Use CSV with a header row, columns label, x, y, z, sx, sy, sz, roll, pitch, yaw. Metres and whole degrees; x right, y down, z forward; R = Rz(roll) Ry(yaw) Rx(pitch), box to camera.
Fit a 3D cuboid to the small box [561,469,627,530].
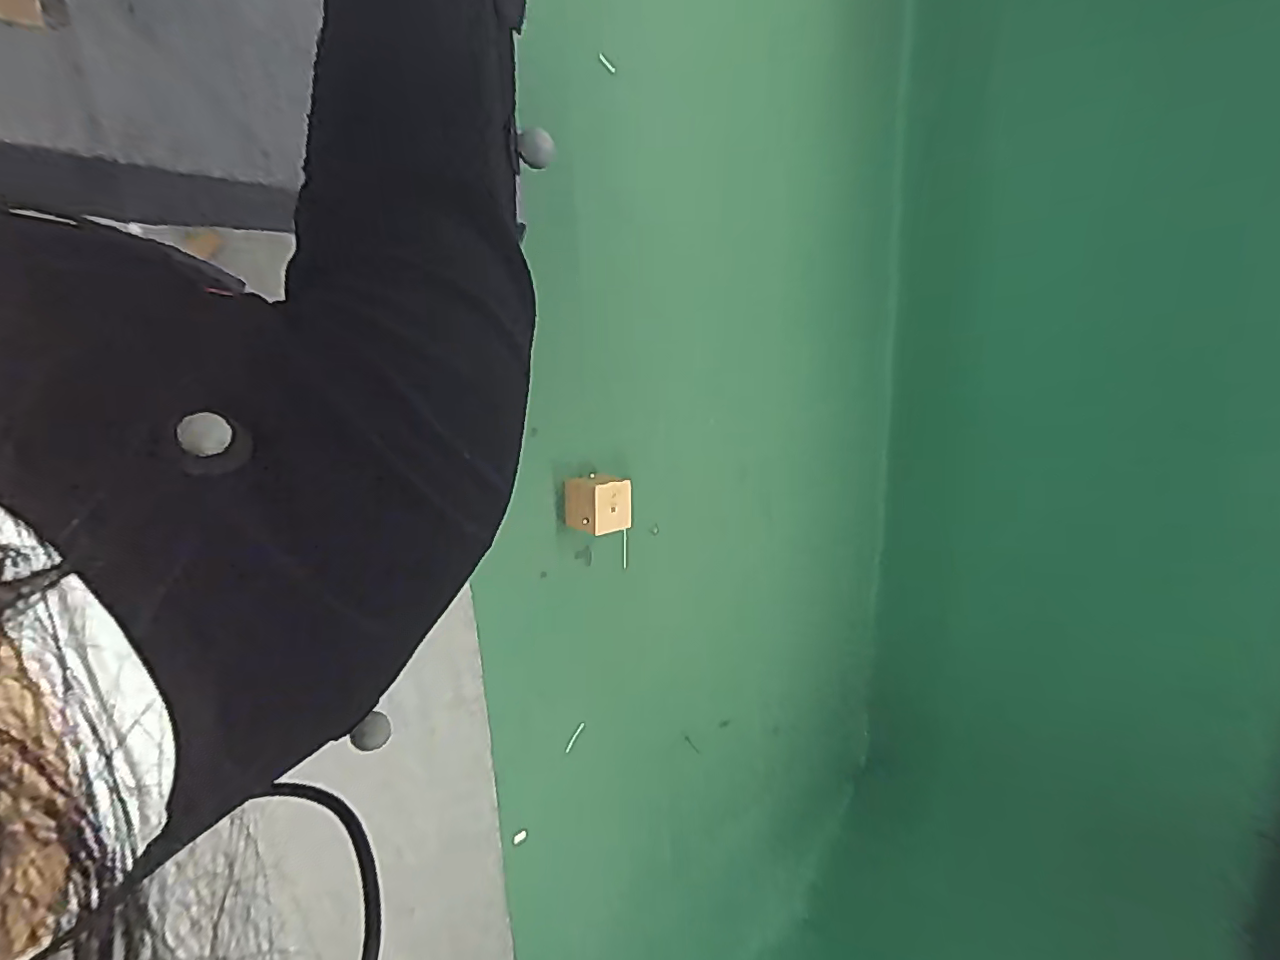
label,x,y,z,sx,sy,sz,roll,pitch,yaw
small box,-0.164,0.065,1.905,0.168,0.176,0.179,-10,104,-44
